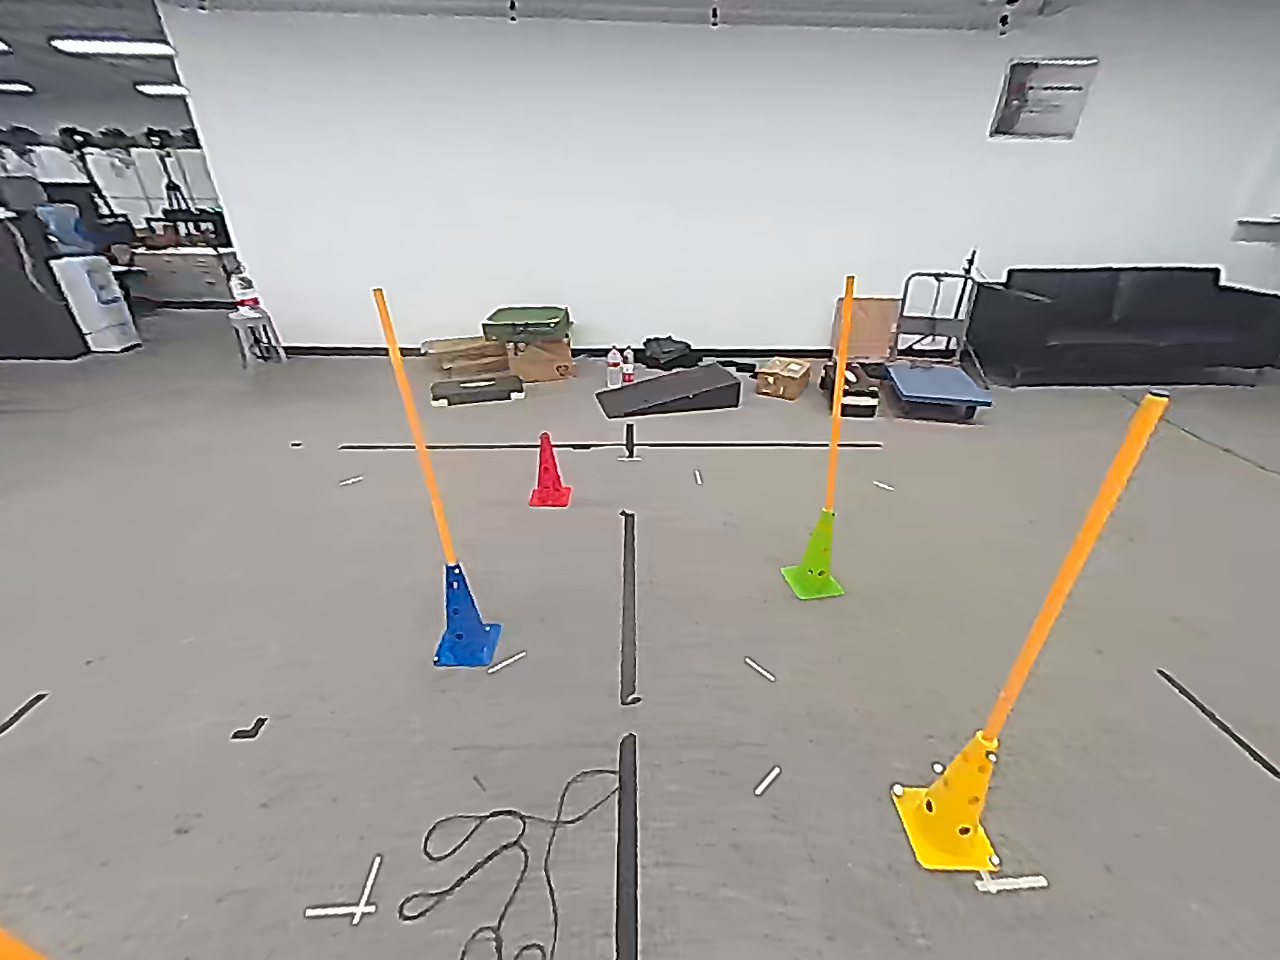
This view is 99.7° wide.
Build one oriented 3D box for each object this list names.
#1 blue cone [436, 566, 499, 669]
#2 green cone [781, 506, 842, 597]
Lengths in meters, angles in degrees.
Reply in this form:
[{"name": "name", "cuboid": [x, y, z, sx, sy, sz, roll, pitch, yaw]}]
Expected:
[{"name": "blue cone", "cuboid": [-0.603, 0.443, 1.822, 0.193, 0.380, 0.192, 1, 29, 1]}, {"name": "green cone", "cuboid": [0.709, 0.262, 2.152, 0.200, 0.368, 0.202, -6, 31, -11]}]
